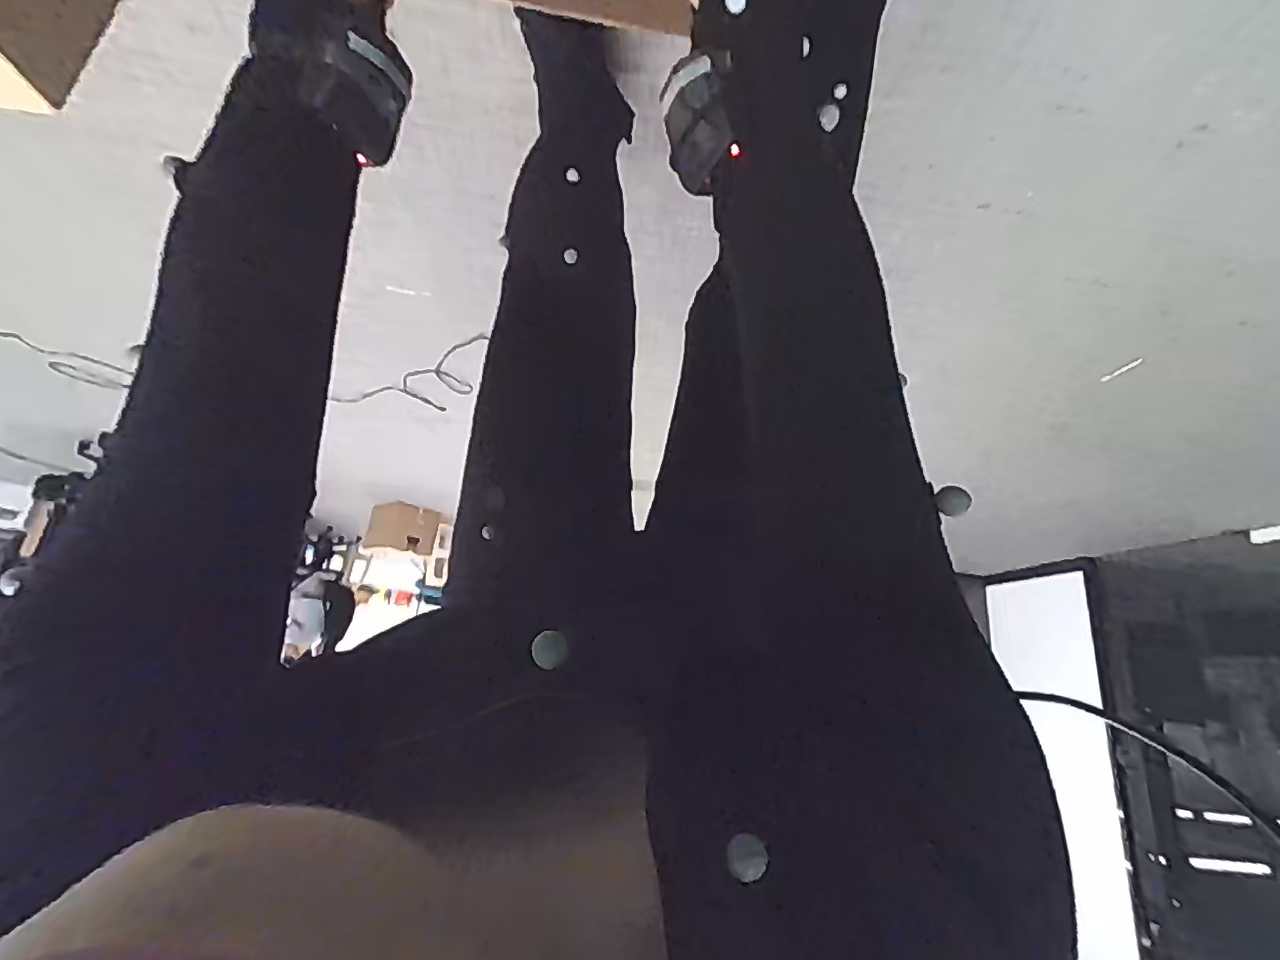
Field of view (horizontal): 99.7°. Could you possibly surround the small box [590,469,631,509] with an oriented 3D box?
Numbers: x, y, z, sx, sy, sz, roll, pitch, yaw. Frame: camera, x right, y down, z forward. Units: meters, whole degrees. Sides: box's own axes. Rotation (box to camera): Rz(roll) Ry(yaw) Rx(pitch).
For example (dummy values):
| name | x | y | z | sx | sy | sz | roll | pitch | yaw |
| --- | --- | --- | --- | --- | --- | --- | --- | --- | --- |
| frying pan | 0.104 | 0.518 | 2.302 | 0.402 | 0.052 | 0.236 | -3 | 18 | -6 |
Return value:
| name | x | y | z | sx | sy | sz | roll | pitch | yaw |
| --- | --- | --- | --- | --- | --- | --- | --- | --- | --- |
| small box | -0.142 | 0.055 | 2.630 | 0.179 | 0.176 | 0.168 | 7 | 163 | -1 |
